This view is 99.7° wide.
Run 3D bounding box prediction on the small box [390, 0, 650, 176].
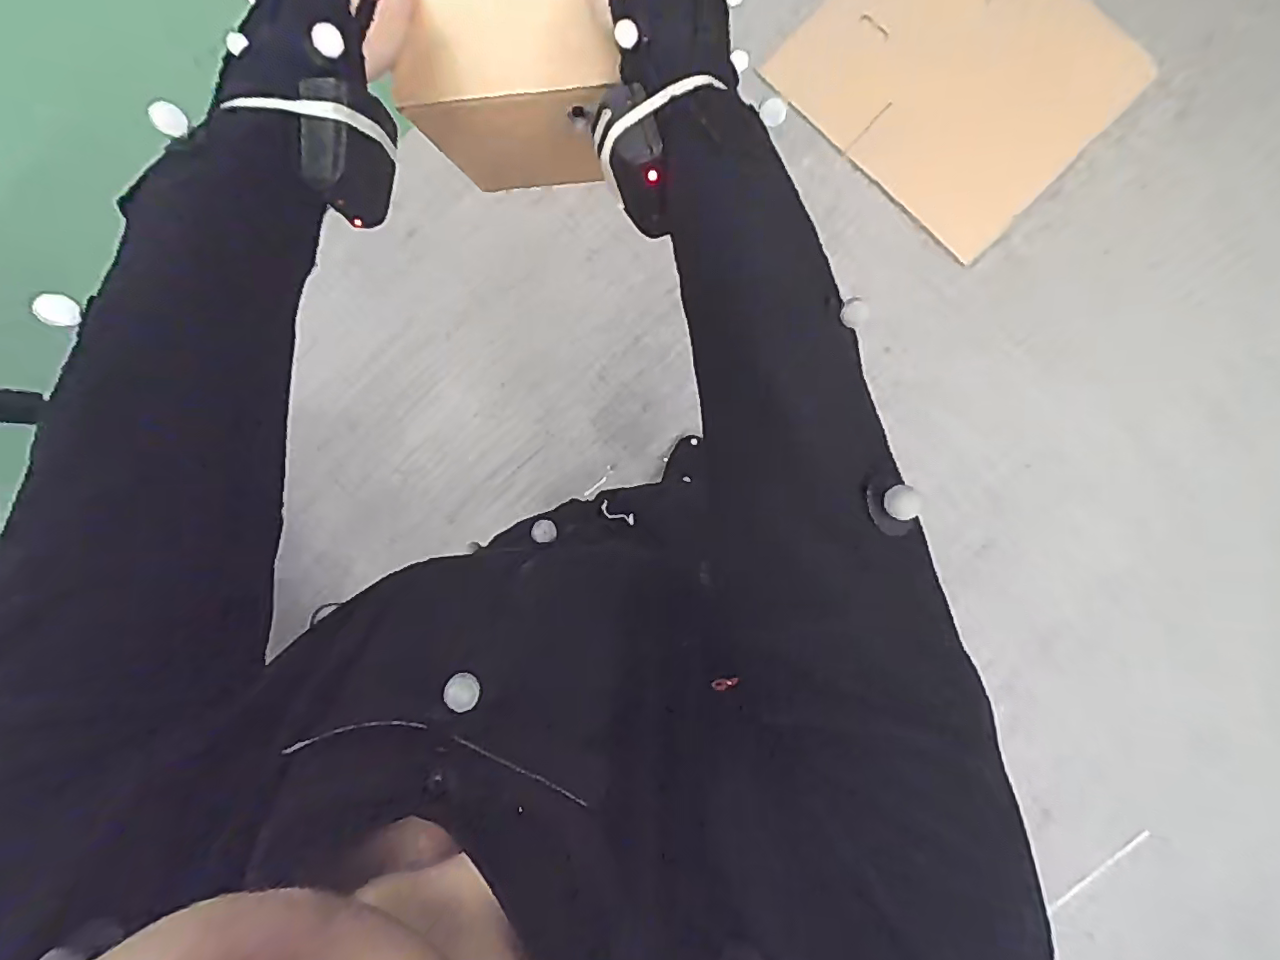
[{"bbox_3d":[-0.087,-0.376,0.453,0.179,0.176,0.168,-2,99,5],"label":"small box"}]
